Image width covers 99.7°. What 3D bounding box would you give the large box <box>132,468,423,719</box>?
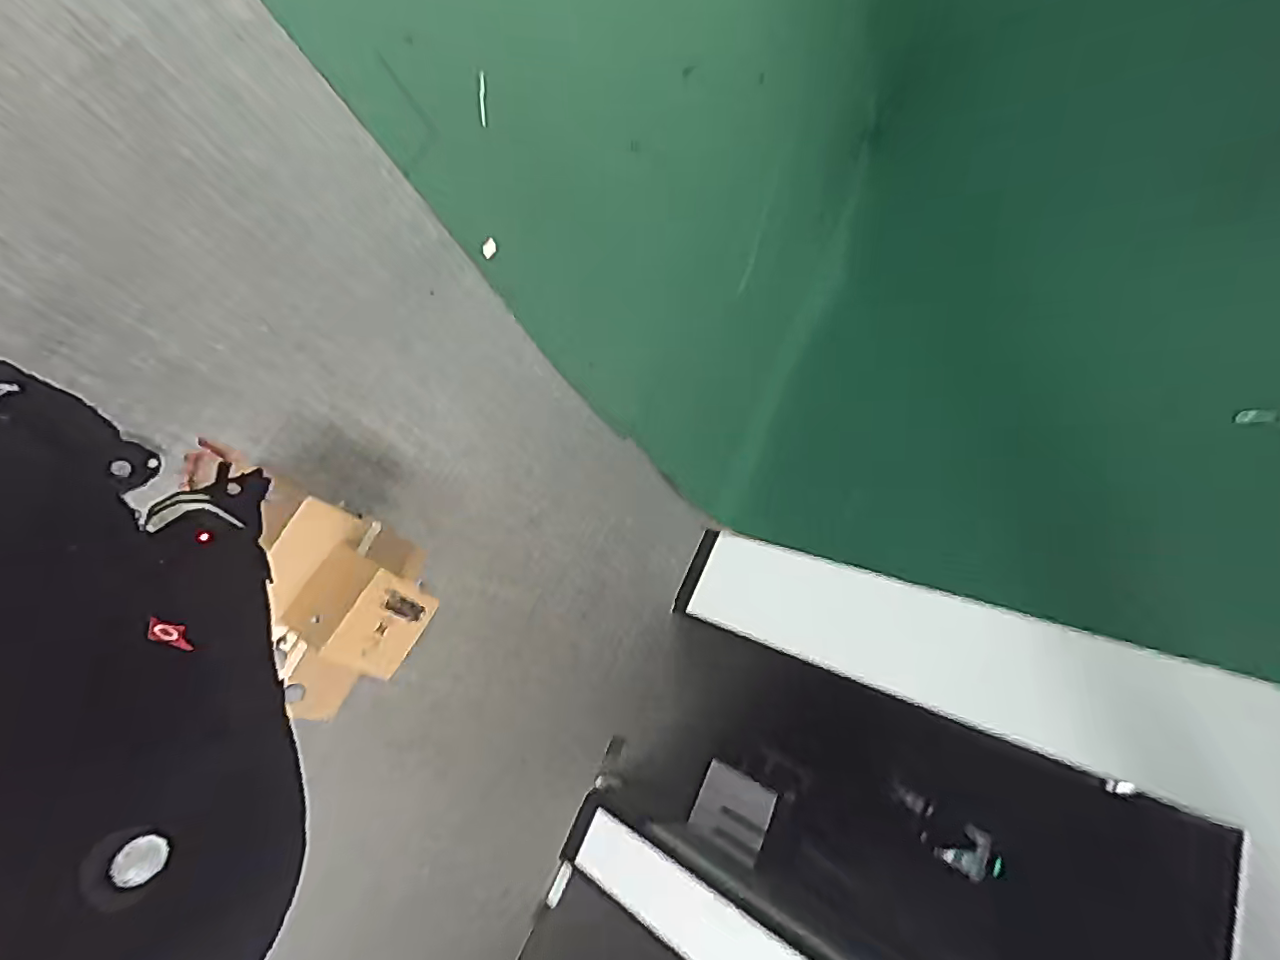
[{"bbox_3d":[-0.767,0.238,1.173,0.320,0.320,0.408,45,66,-49],"label":"large box"}]
